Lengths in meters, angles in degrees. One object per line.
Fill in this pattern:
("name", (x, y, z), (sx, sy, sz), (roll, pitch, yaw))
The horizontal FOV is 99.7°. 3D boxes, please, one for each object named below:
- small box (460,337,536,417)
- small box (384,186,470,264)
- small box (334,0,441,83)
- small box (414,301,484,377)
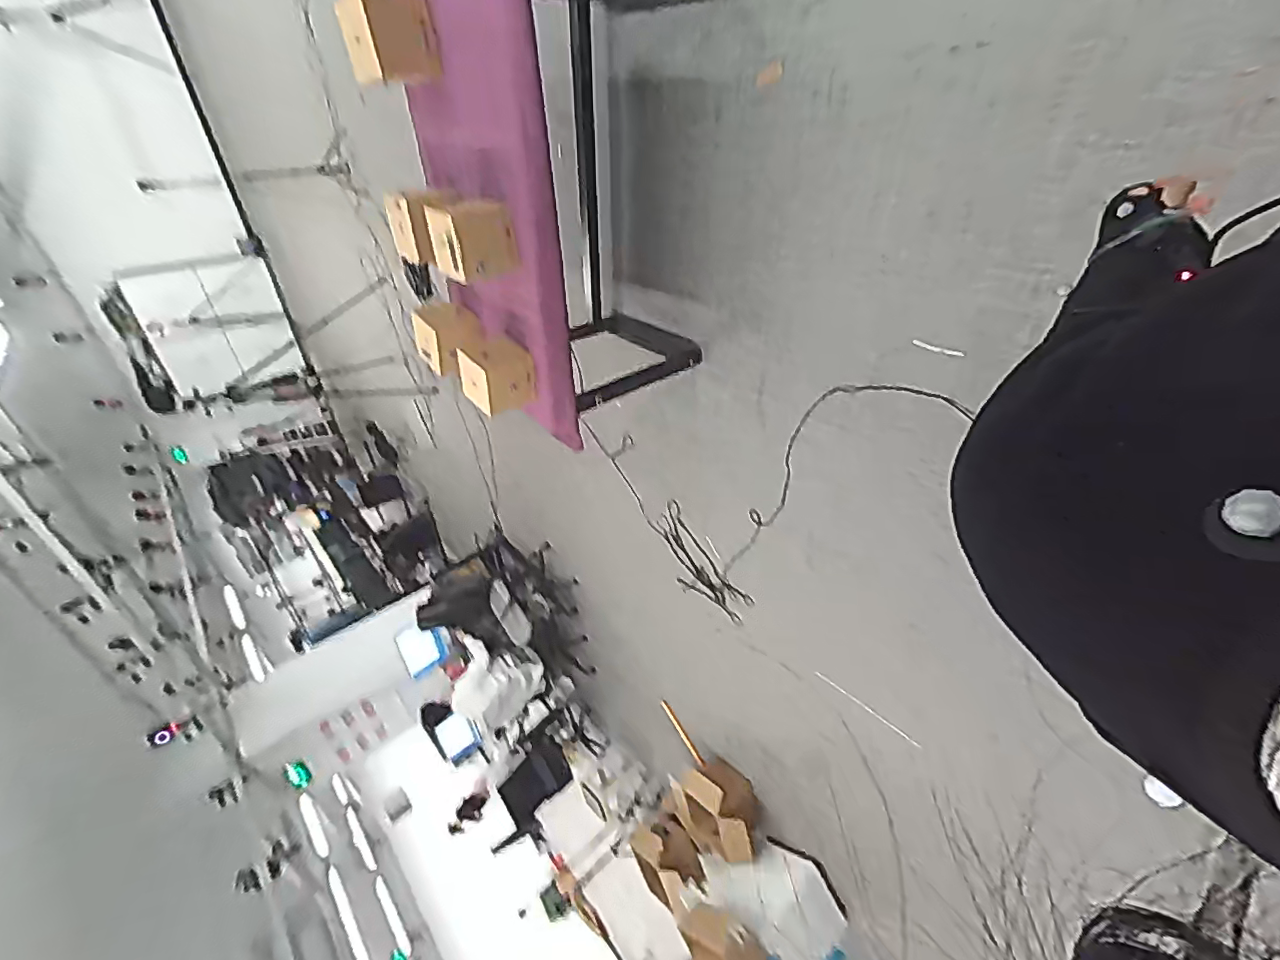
("small box", (-0.440, -0.332, 1.705), (0.179, 0.176, 0.168), (39, 141, 31))
("small box", (-0.639, -0.777, 1.641), (0.168, 0.176, 0.179), (31, 138, 36))
("small box", (-0.634, -1.116, 1.371), (0.179, 0.176, 0.168), (27, 137, 39))
("small box", (-0.655, -0.493, 1.879), (0.168, 0.176, 0.179), (41, 141, 27))
